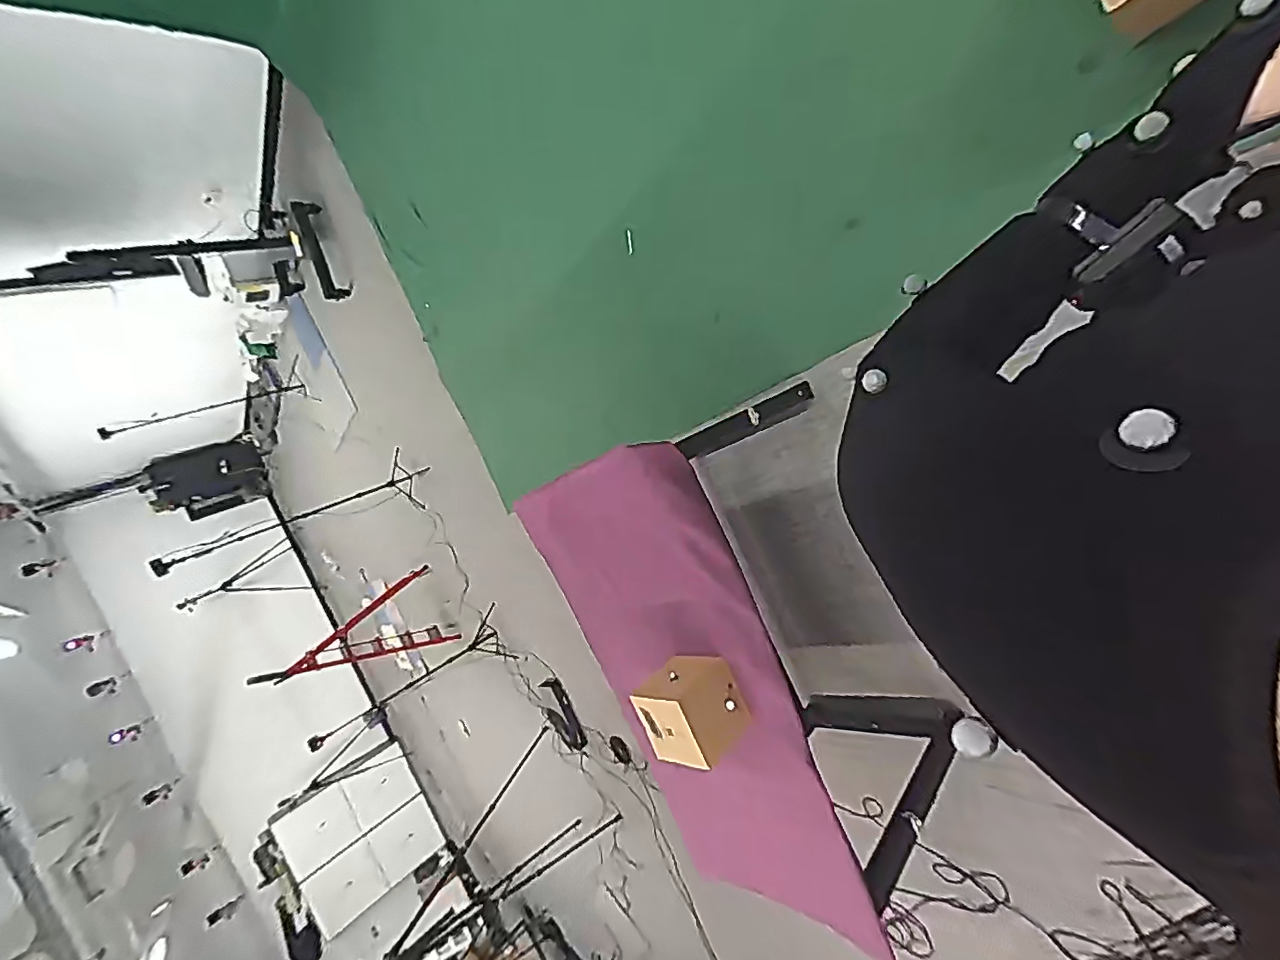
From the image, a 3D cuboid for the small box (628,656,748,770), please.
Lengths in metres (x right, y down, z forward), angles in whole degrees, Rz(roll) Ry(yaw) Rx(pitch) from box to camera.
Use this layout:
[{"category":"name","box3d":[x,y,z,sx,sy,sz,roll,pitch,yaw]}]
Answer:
[{"category":"small box","box3d":[0.110,0.514,1.222,0.179,0.176,0.168,-22,94,50]}]

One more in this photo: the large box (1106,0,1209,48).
[{"category":"large box","box3d":[0.838,-0.908,0.720,0.408,0.320,0.320,-21,94,49]}]
